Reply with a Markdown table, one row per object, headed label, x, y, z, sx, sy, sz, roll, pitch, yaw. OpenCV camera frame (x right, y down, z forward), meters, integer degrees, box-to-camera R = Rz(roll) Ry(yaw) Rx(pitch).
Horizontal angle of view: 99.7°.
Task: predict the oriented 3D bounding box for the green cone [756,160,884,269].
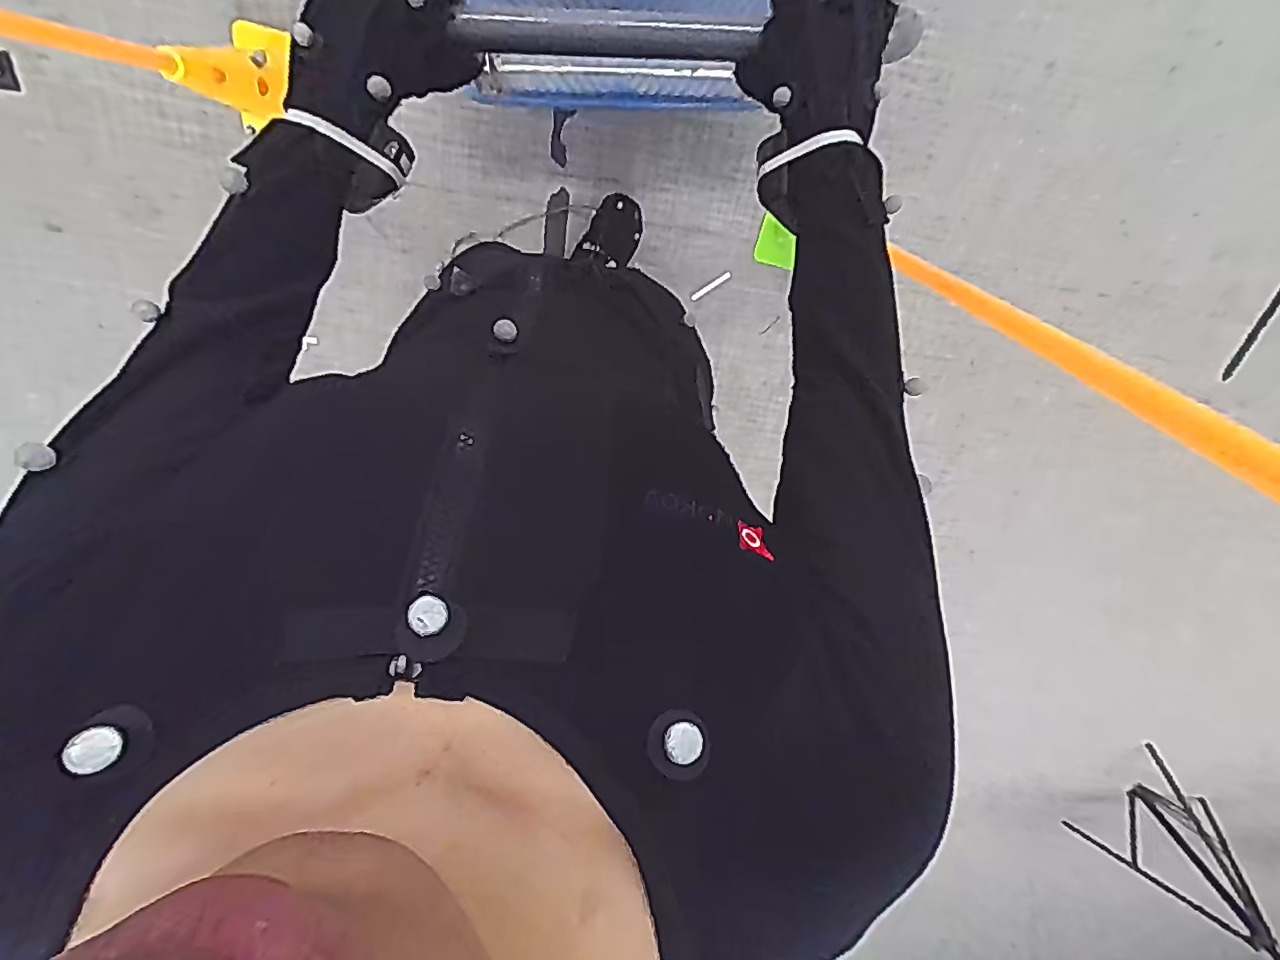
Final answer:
| label | x | y | z | sx | sy | sz | roll | pitch | yaw |
| --- | --- | --- | --- | --- | --- | --- | --- | --- | --- |
| green cone | 0.396 | -0.523 | 1.106 | 0.202 | 0.368 | 0.200 | 10 | 119 | -9 |
